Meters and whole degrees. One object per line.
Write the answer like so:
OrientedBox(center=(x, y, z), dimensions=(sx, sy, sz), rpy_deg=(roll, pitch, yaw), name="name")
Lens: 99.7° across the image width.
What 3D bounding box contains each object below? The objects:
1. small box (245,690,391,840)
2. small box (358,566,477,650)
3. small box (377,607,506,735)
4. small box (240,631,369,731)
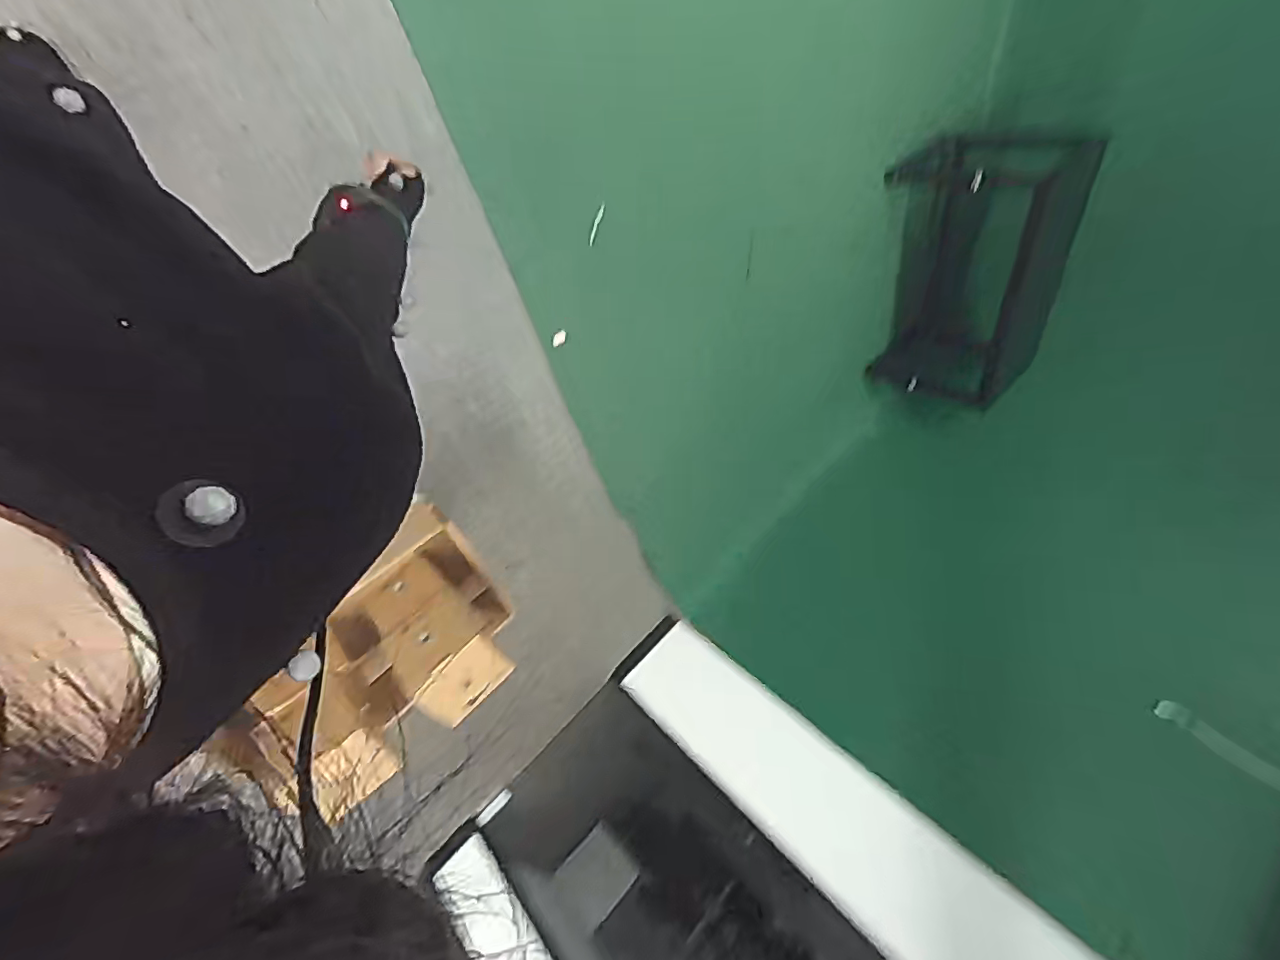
OrientedBox(center=(-0.627, 0.544, 1.053), dimensions=(0.168, 0.176, 0.179), rpy_deg=(-34, 135, -25), name="small box")
OrientedBox(center=(-0.524, 0.336, 1.276), dimensions=(0.168, 0.176, 0.179), rpy_deg=(-42, 138, -19), name="small box")
OrientedBox(center=(-0.427, 0.400, 1.159), dimensions=(0.168, 0.176, 0.179), rpy_deg=(-41, 137, -18), name="small box")
OrientedBox(center=(-0.719, 0.464, 1.162), dimensions=(0.168, 0.176, 0.179), rpy_deg=(-31, 133, -29), name="small box")
